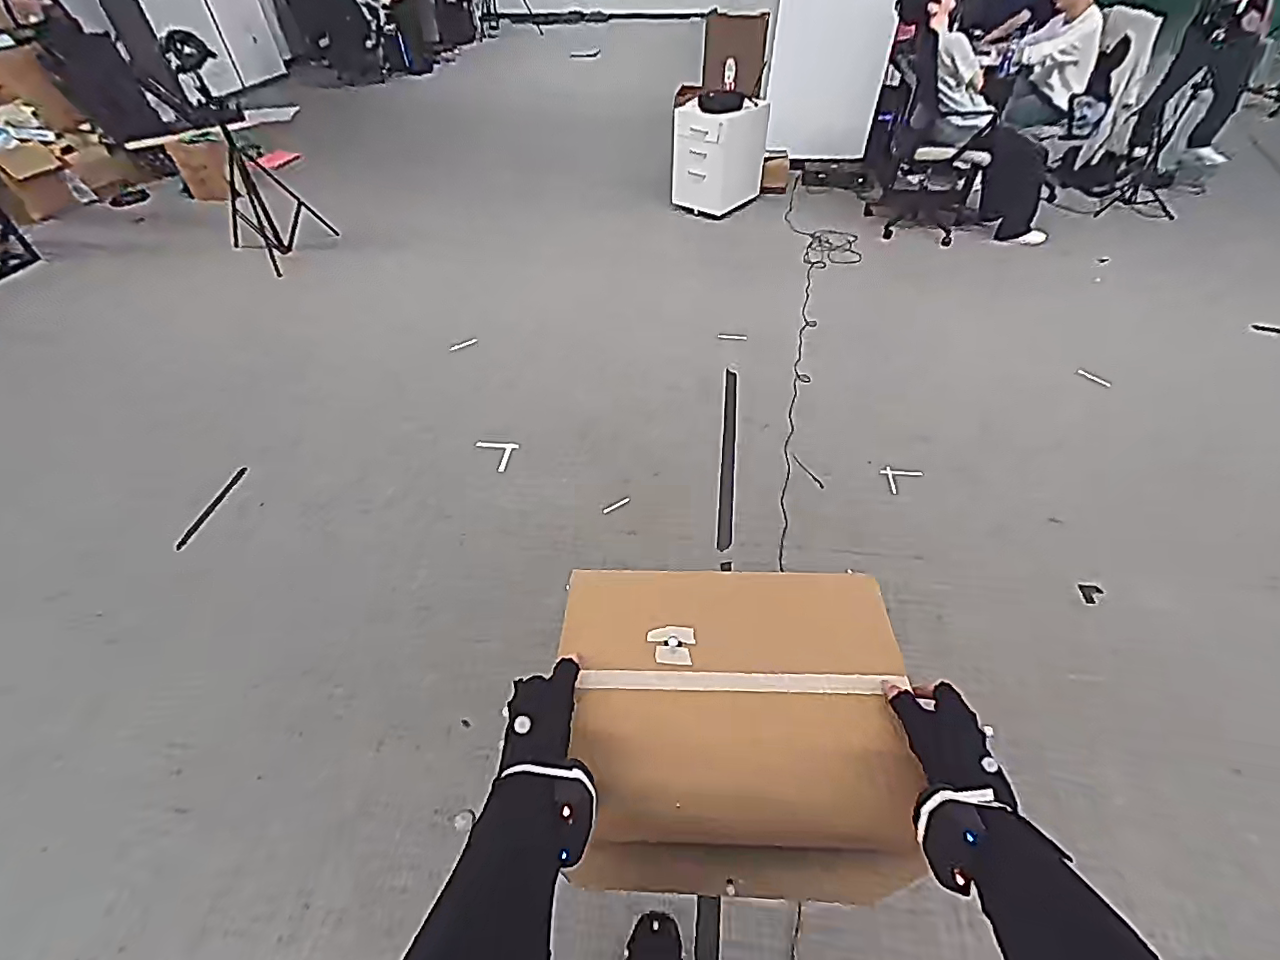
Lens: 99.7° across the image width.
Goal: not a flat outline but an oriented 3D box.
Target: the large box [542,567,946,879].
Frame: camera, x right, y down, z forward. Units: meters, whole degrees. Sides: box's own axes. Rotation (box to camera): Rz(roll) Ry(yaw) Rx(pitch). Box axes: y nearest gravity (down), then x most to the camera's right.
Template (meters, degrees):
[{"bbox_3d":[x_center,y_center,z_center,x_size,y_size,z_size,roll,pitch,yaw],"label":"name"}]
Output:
[{"bbox_3d":[0.113,0.333,0.739,0.408,0.320,0.320,0,45,4],"label":"large box"}]
